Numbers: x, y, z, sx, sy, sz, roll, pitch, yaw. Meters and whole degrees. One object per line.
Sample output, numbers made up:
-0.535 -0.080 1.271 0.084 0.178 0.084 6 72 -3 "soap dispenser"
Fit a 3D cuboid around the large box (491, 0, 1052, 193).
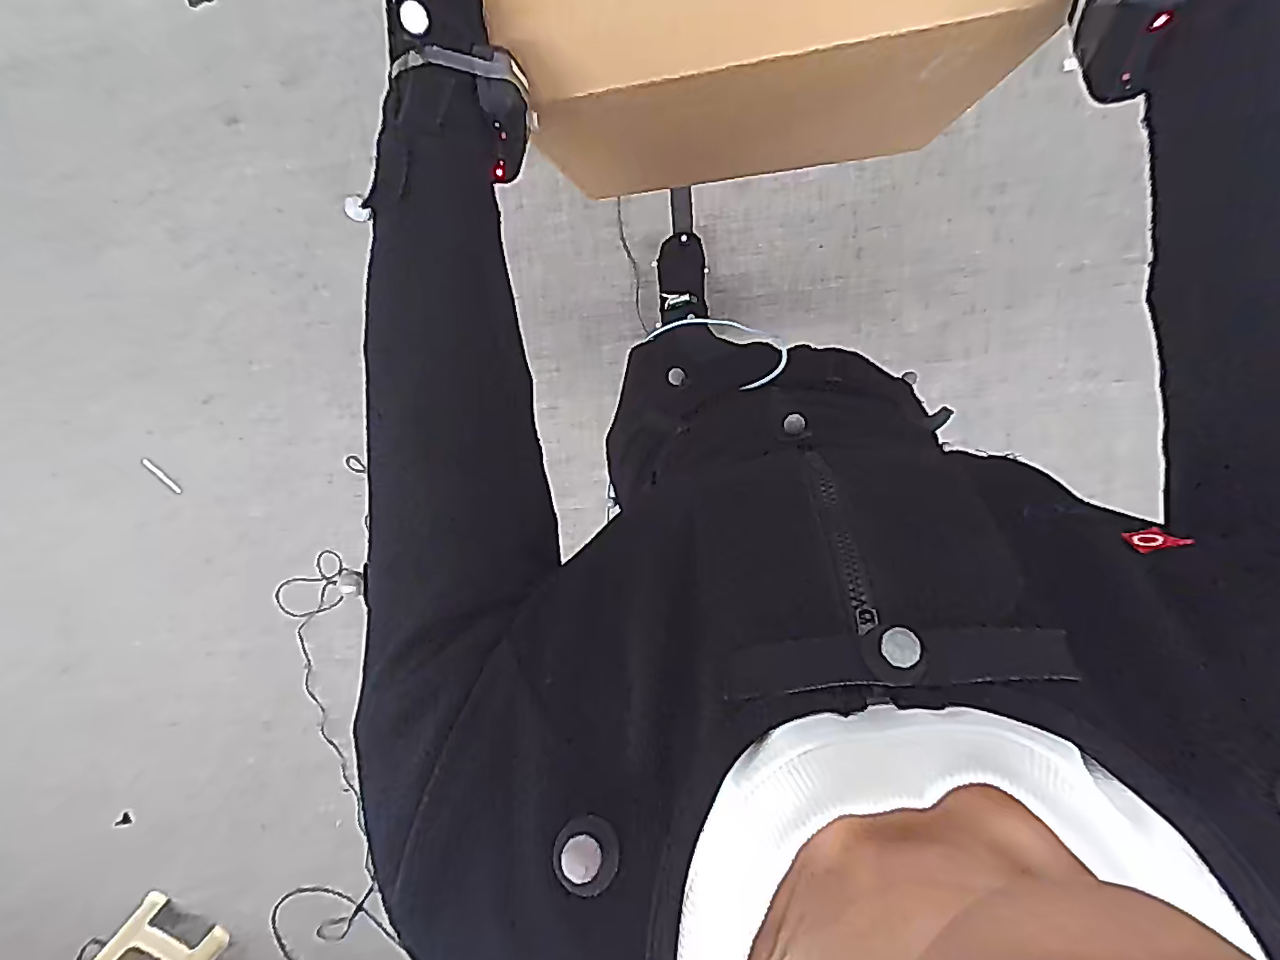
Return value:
0.091 -0.488 0.480 0.408 0.320 0.320 -5 106 8 "large box"
